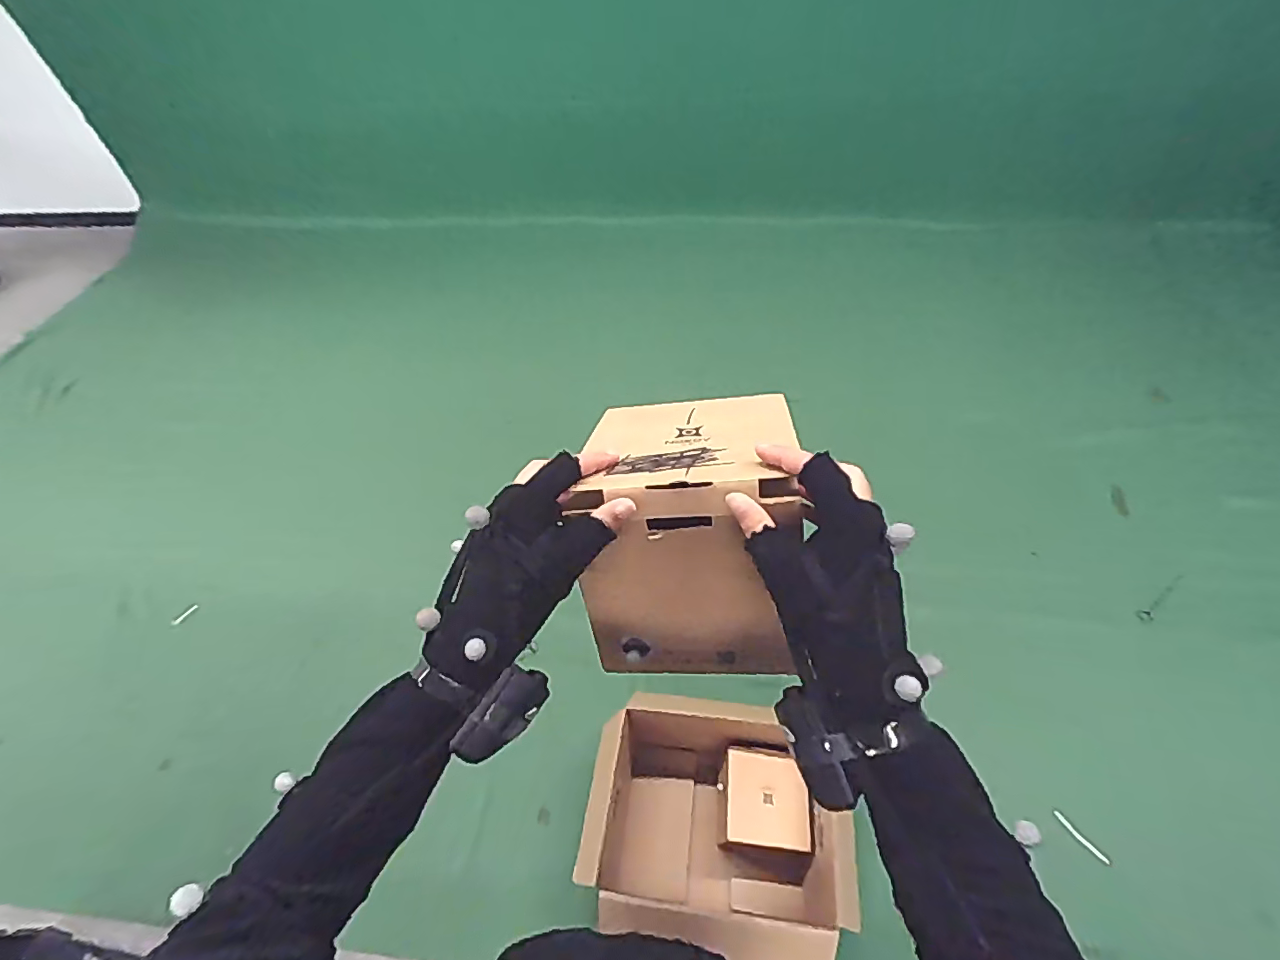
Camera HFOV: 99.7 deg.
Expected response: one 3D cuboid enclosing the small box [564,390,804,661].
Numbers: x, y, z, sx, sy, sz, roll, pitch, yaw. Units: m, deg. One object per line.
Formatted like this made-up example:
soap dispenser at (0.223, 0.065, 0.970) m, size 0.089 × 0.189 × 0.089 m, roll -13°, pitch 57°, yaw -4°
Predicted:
small box at (0.050, 0.038, 0.471) m, size 0.168 × 0.176 × 0.179 m, roll -3°, pitch 30°, yaw 12°
